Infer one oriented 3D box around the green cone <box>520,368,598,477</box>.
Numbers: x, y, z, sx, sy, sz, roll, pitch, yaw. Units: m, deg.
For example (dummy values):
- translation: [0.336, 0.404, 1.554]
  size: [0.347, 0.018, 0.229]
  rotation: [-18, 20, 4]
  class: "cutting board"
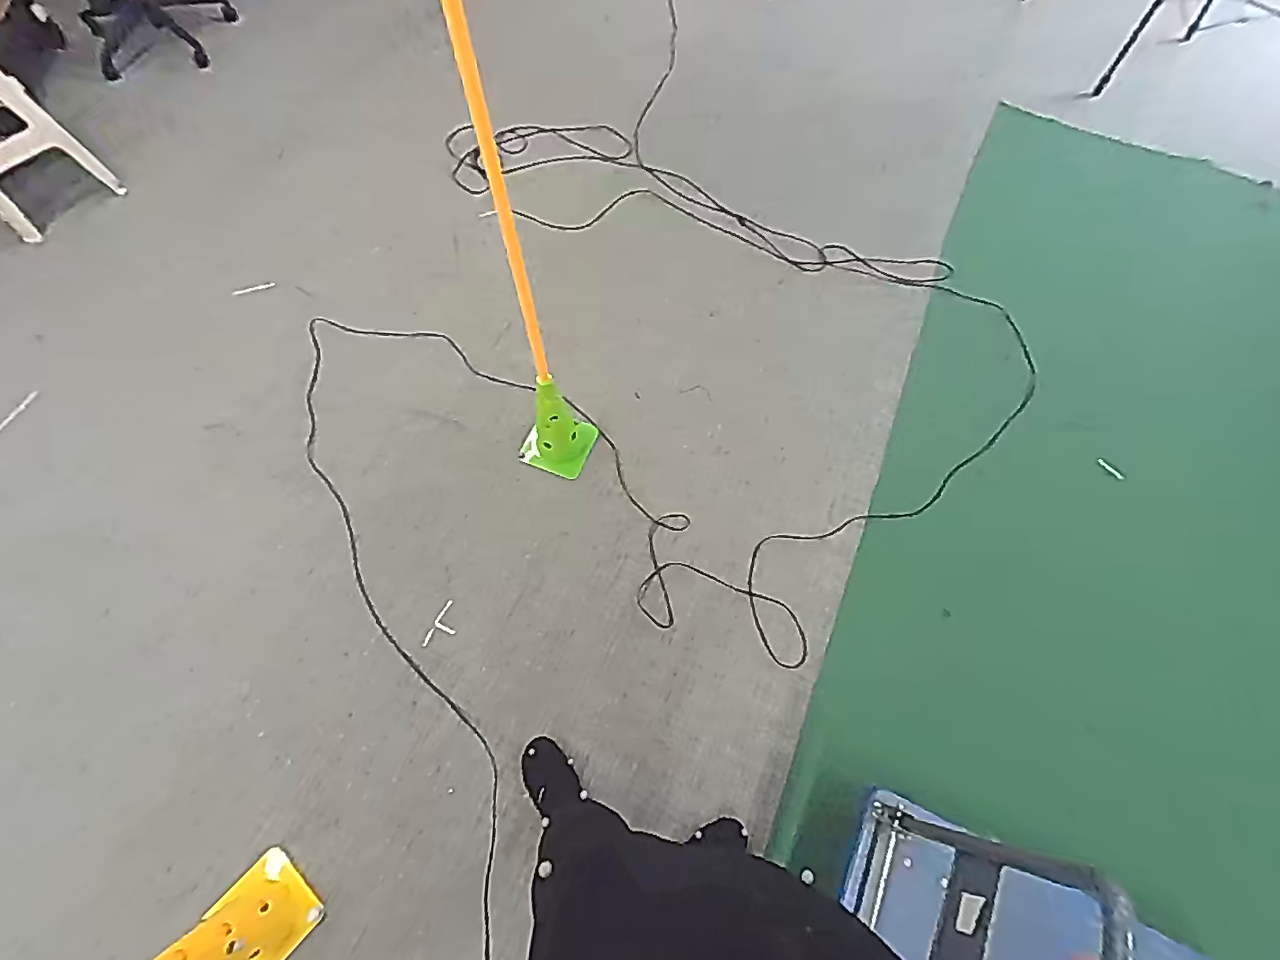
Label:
- translation: [-0.247, -0.189, 1.541]
  size: [0.200, 0.368, 0.202]
  rotation: [19, 66, 7]
  class: "green cone"
